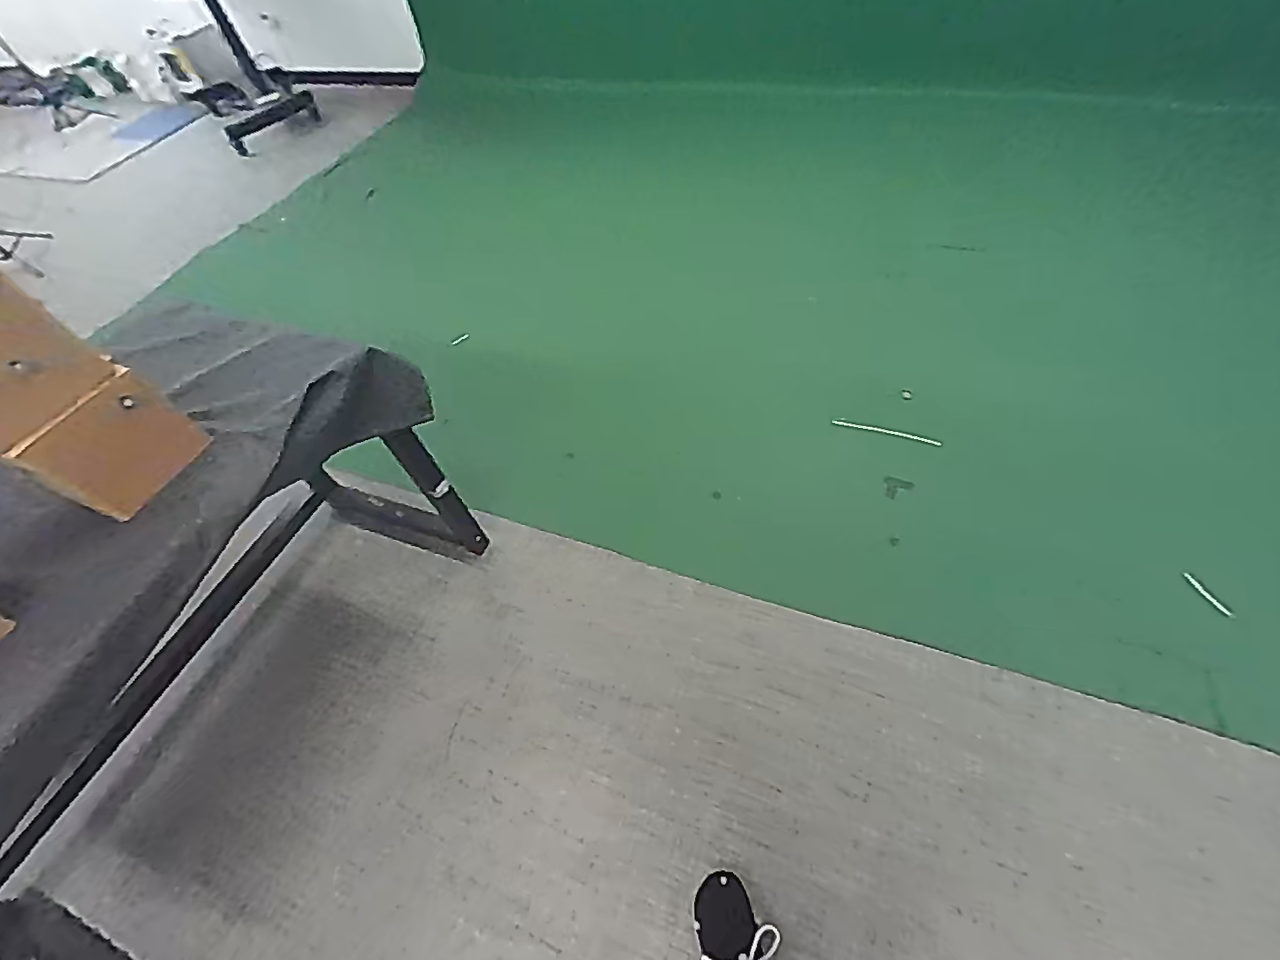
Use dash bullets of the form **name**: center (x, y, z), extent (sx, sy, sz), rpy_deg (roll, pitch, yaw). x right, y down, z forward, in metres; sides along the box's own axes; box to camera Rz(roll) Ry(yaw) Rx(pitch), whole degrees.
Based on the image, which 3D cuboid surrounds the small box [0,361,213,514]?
- **small box**: center (-0.828, -0.072, 0.835), extent (0.168, 0.176, 0.179), rpy_deg (16, 58, 18)

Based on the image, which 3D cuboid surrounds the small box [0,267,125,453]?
- **small box**: center (-0.862, -0.170, 0.702), extent (0.168, 0.176, 0.179), rpy_deg (19, 59, 21)
